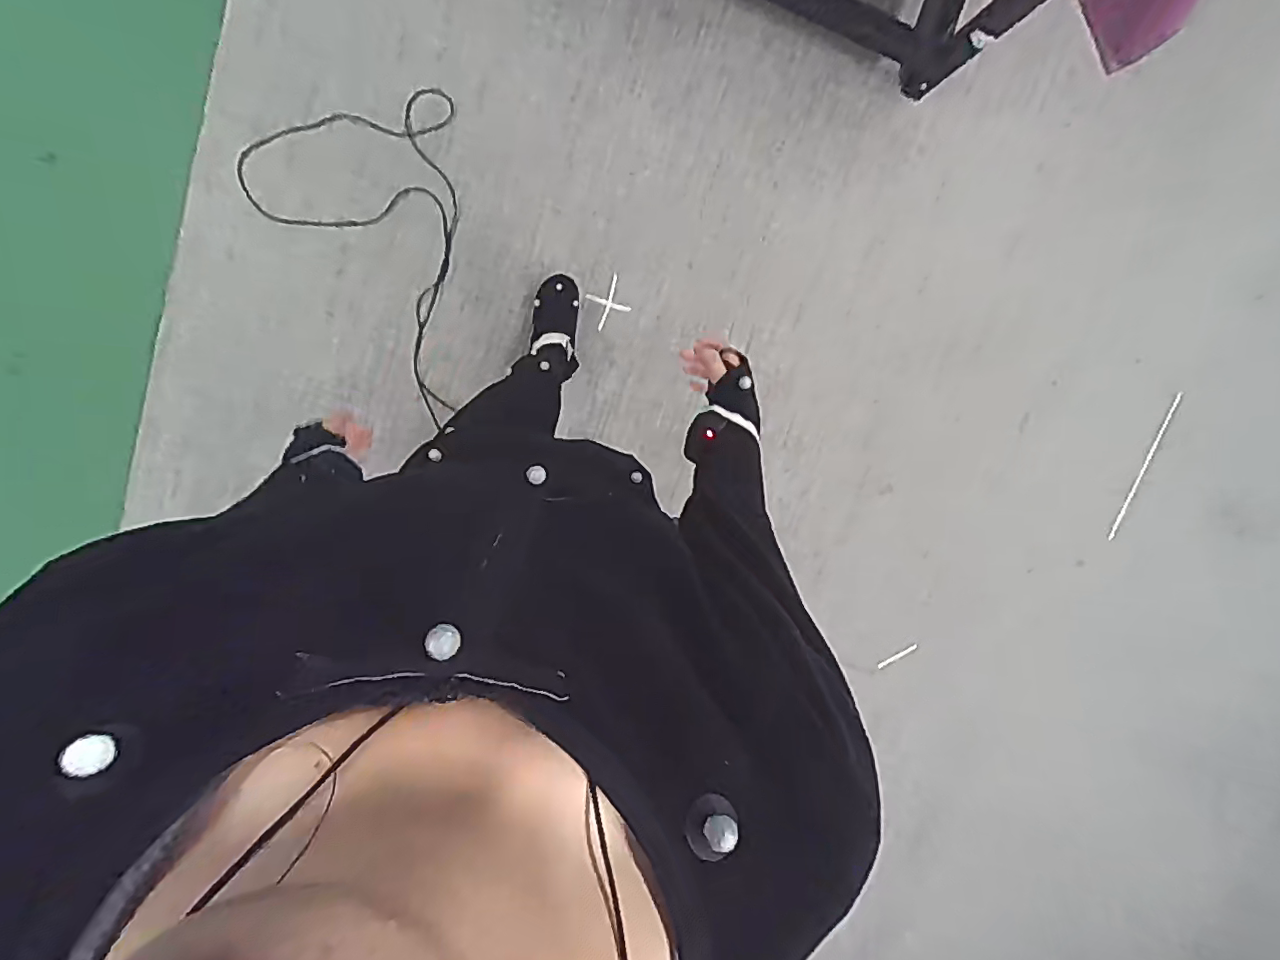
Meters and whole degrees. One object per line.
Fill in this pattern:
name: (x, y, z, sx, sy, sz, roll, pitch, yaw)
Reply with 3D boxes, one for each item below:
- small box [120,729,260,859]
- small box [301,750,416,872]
small box: (-0.976, 0.682, 1.190, 0.168, 0.176, 0.179, 15, 97, -9)
small box: (-0.640, 0.758, 1.251, 0.179, 0.176, 0.168, 15, 95, -9)
